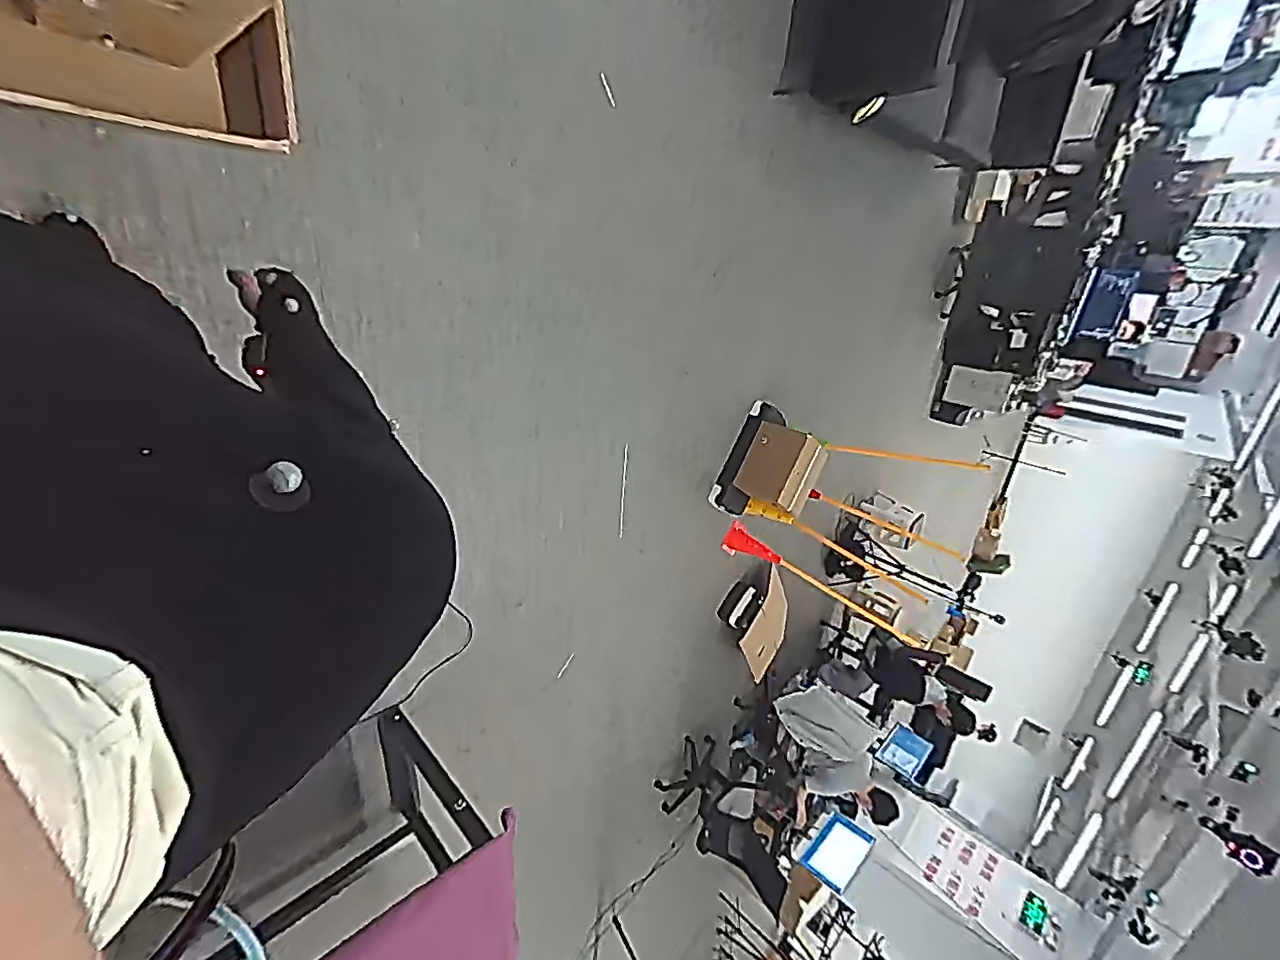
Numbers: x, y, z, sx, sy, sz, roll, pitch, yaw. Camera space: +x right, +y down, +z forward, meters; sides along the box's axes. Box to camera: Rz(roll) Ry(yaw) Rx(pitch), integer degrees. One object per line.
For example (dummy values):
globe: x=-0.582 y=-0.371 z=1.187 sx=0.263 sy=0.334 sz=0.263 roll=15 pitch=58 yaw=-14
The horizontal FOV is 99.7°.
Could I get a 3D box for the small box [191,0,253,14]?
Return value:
small box: x=-0.459 y=-0.579 z=0.501 sx=0.168 sy=0.176 sz=0.179 roll=-16 pitch=120 yaw=-44
